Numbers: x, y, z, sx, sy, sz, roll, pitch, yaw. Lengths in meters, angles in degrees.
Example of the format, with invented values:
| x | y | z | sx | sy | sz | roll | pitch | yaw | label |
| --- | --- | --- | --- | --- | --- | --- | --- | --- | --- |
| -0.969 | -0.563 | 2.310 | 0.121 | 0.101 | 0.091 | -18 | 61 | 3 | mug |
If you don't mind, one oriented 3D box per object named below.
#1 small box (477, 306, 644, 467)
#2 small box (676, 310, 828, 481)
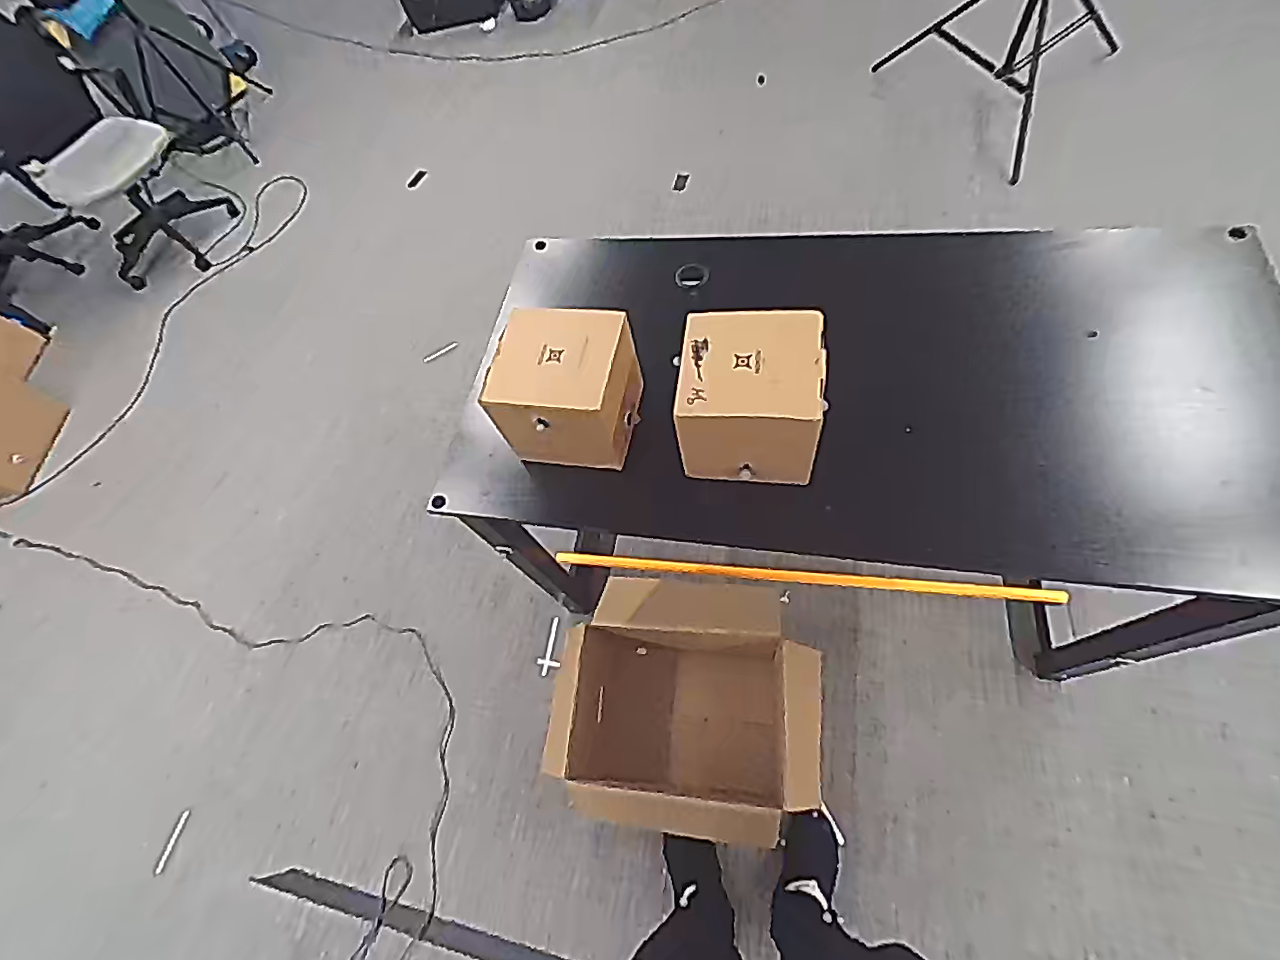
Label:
| x | y | z | sx | sy | sz | roll | pitch | yaw | label |
| --- | --- | --- | --- | --- | --- | --- | --- | --- | --- |
| -0.104 | -0.132 | 0.797 | 0.179 | 0.176 | 0.168 | 7 | 65 | 13 | small box |
| 0.151 | -0.109 | 0.738 | 0.179 | 0.176 | 0.168 | 4 | 64 | 12 | small box |
